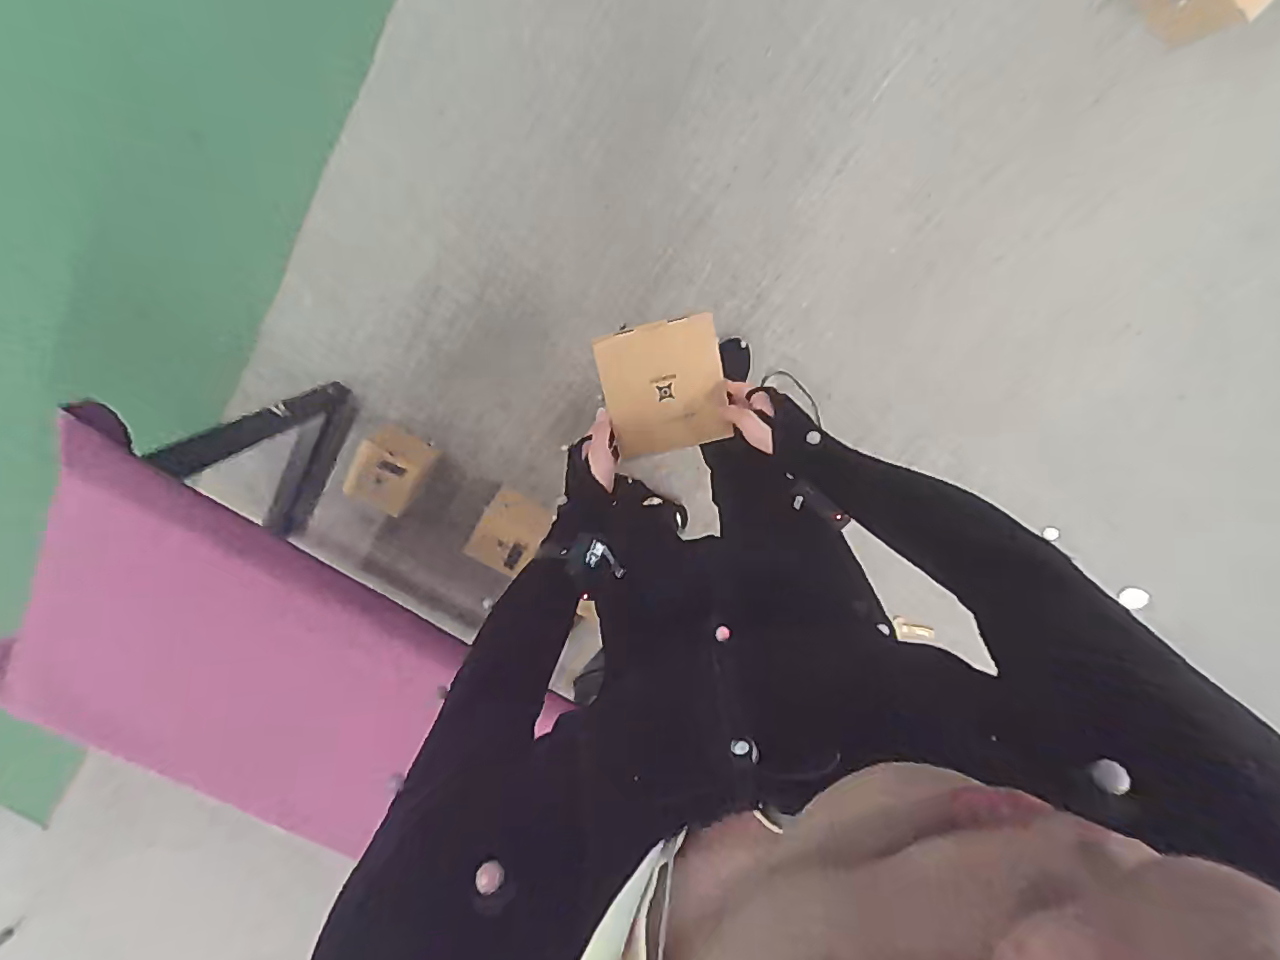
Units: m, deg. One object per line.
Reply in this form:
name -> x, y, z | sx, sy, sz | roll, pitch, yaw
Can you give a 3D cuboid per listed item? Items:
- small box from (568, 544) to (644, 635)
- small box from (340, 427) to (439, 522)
small box -> -0.097, 0.318, 1.605 | 0.168, 0.176, 0.179 | 25, 111, -8
small box -> -0.683, -0.022, 1.494 | 0.168, 0.176, 0.179 | 30, 111, -9
